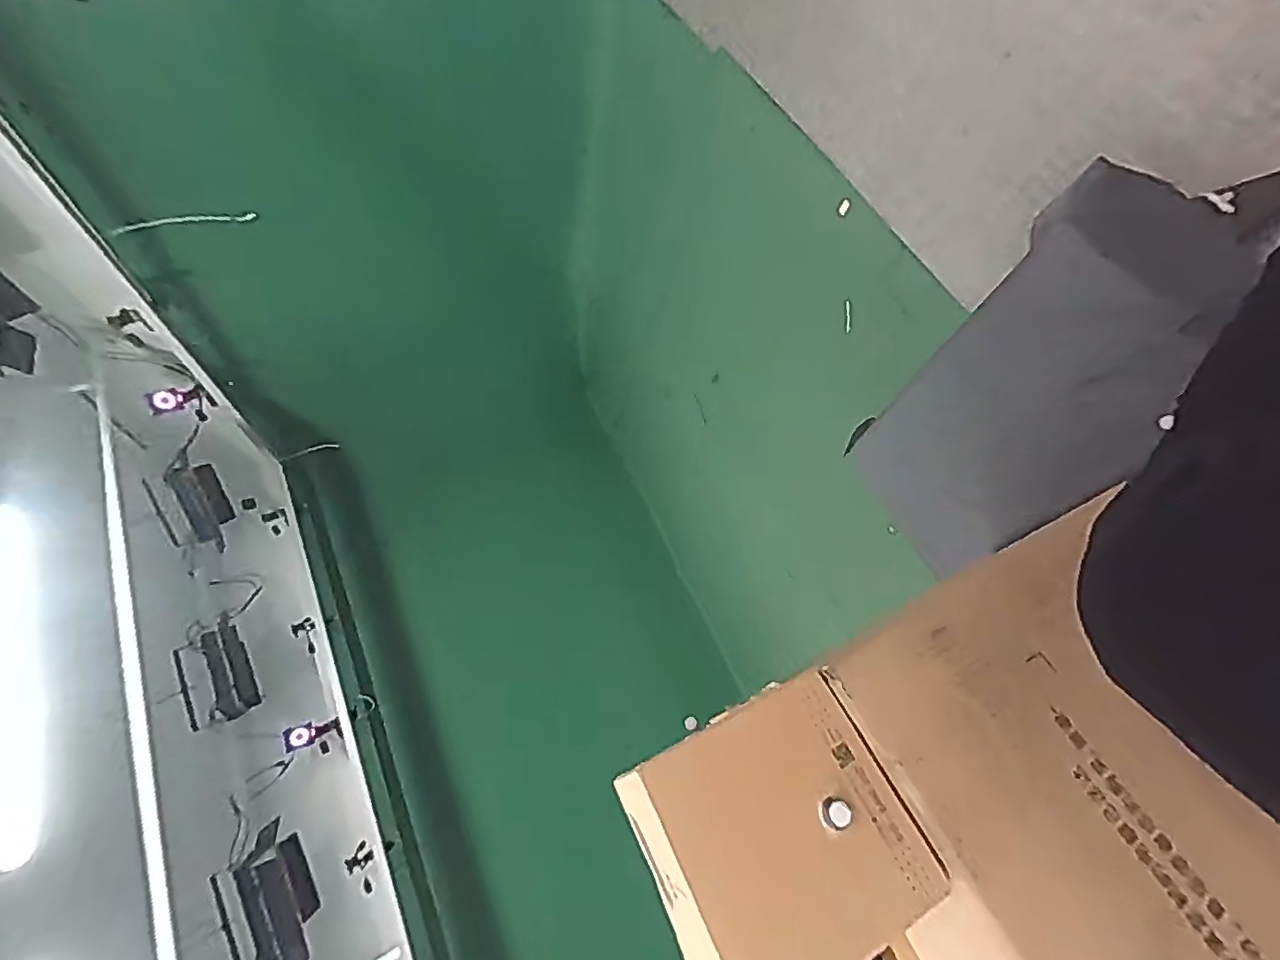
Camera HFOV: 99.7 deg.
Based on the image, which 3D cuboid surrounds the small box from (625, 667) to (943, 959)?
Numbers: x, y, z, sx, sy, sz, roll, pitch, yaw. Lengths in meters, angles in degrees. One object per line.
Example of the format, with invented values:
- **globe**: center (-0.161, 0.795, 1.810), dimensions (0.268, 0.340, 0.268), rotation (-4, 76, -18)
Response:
- **small box**: center (0.104, 0.282, 0.455), dimensions (0.168, 0.176, 0.179), rotation (60, 157, 24)
